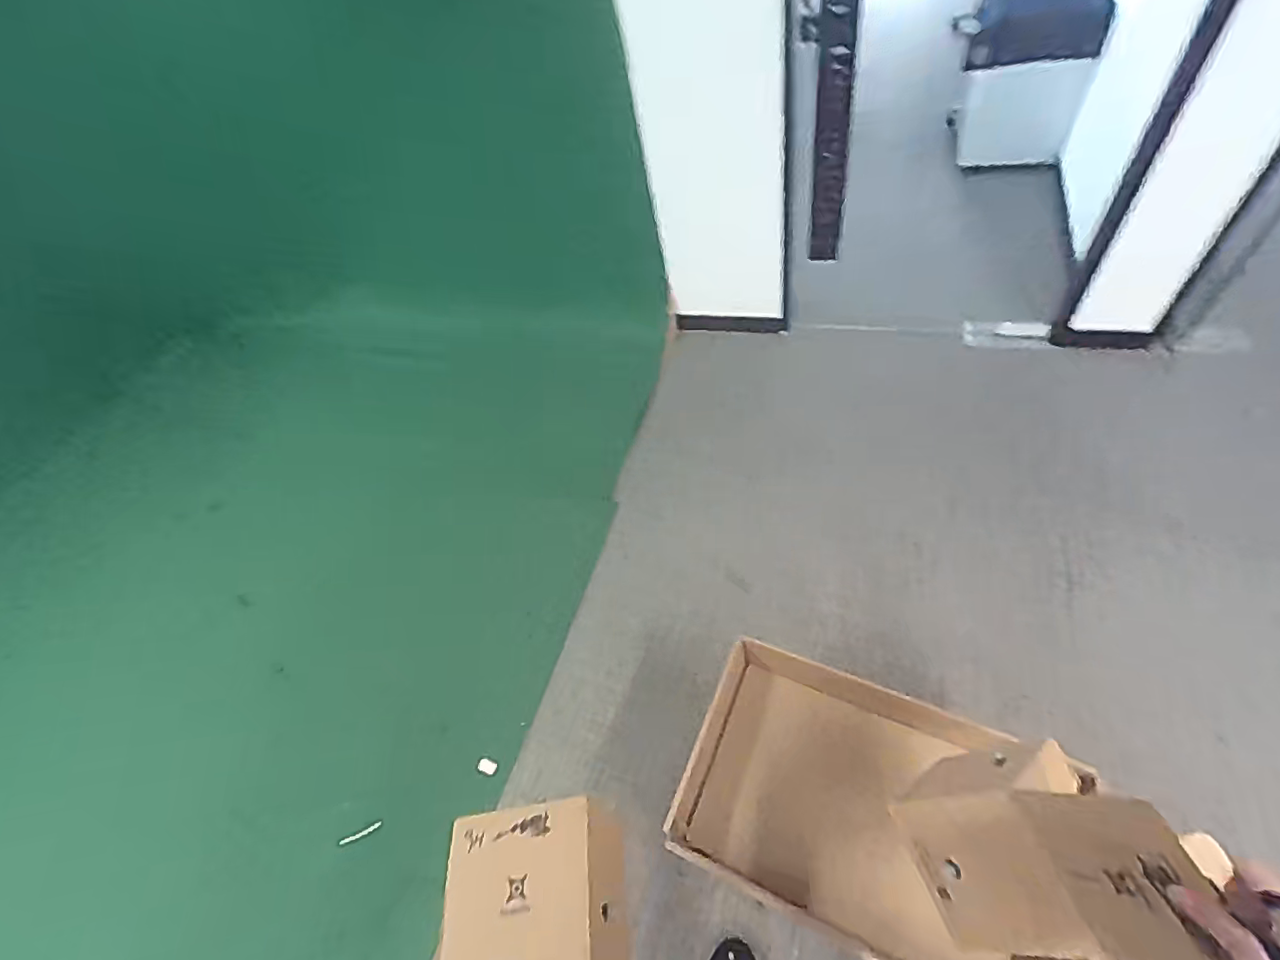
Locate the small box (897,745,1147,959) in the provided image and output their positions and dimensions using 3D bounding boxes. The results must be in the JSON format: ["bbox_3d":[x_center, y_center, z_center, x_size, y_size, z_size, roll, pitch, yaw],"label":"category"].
[{"bbox_3d":[0.462,0.453,0.672,0.179,0.176,0.168,-3,60,-37],"label":"small box"}]

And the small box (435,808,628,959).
[{"bbox_3d":[-0.115,0.506,0.622,0.168,0.176,0.179,-14,46,6],"label":"small box"}]
